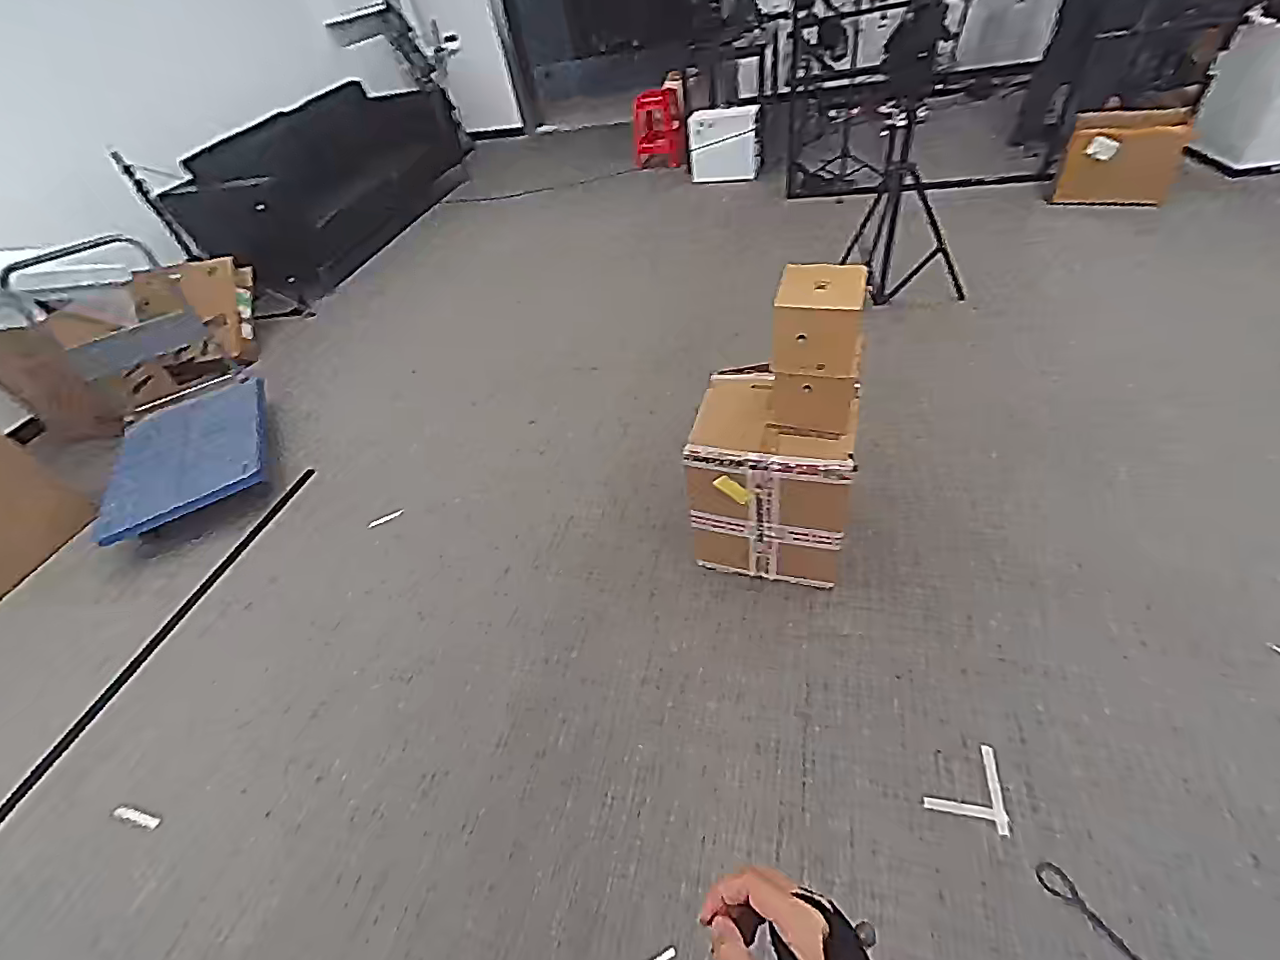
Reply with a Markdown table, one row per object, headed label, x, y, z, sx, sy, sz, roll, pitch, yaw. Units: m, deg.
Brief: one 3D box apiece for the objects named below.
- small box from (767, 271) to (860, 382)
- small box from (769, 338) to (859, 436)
| label | x | y | z | sx | sy | sz | roll | pitch | yaw |
| --- | --- | --- | --- | --- | --- | --- | --- | --- | --- |
| small box | 0.371 | -0.329 | 1.161 | 0.168 | 0.176 | 0.179 | 8 | 49 | 19 |
| small box | 0.407 | -0.224 | 1.279 | 0.179 | 0.176 | 0.168 | 10 | 51 | 20 |
